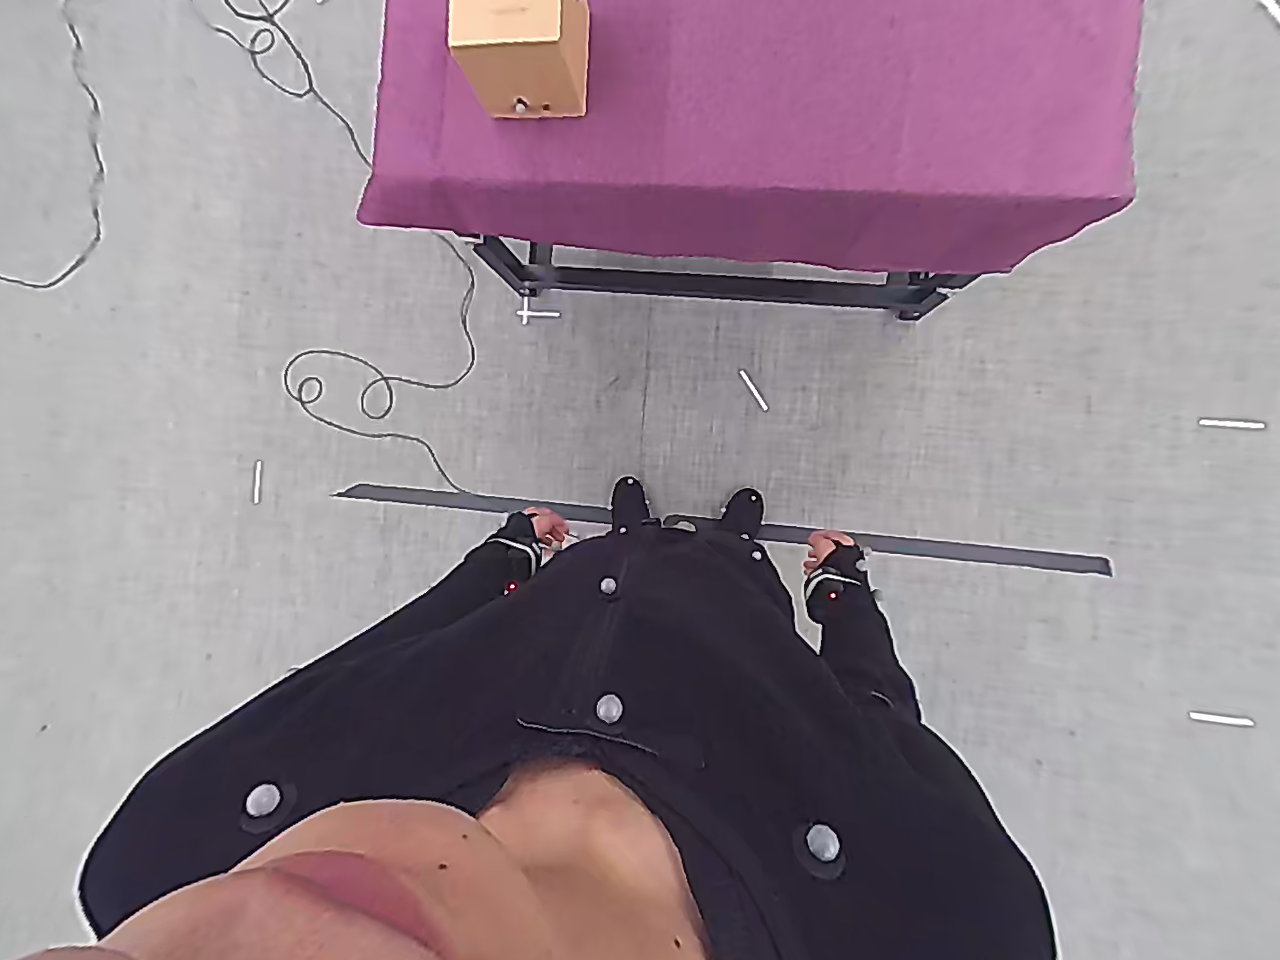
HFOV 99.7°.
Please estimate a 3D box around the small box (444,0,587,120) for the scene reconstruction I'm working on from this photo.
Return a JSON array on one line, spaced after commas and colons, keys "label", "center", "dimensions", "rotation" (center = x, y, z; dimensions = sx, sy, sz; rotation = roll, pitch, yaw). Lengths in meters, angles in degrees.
[{"label": "small box", "center": [-0.180, -0.693, 0.827], "dimensions": [0.168, 0.176, 0.179], "rotation": [3, 92, 7]}]
